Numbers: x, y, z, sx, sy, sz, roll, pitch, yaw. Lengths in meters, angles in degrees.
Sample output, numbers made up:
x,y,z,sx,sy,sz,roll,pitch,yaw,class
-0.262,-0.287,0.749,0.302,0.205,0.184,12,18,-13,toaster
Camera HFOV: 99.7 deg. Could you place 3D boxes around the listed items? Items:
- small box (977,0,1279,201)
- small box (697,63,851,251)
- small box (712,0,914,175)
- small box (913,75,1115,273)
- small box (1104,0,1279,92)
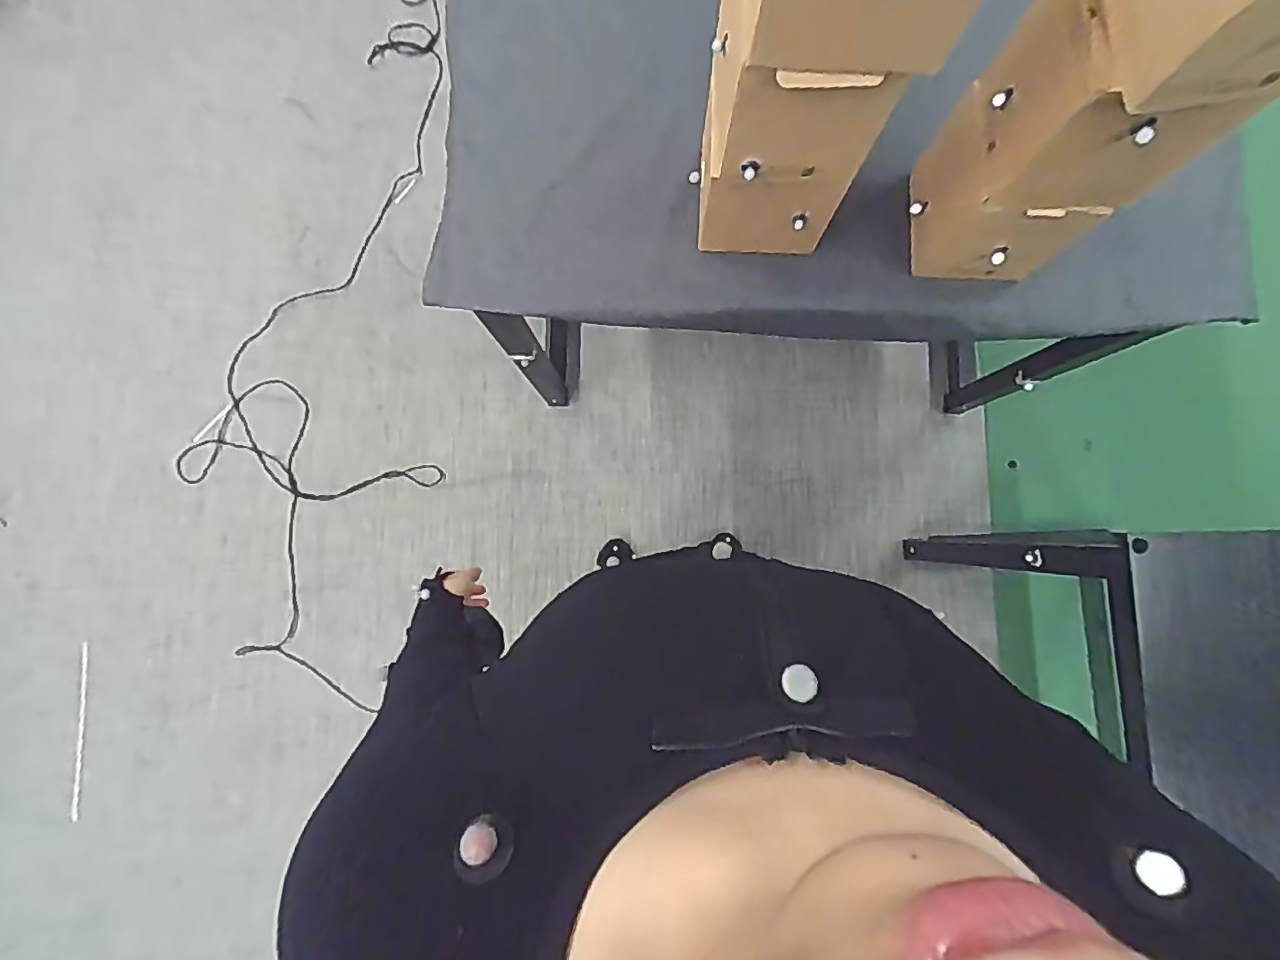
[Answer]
x,y,z,sx,sy,sz,roll,pitch,yaw,class
0.492,-0.418,0.567,0.179,0.176,0.168,0,83,3,small box
0.175,-0.436,0.745,0.179,0.176,0.168,2,83,3,small box
0.169,-0.457,0.582,0.168,0.176,0.179,-1,82,1,small box
0.488,-0.398,0.729,0.168,0.176,0.179,2,84,3,small box
0.494,-0.429,0.402,0.168,0.176,0.179,-8,83,1,small box
